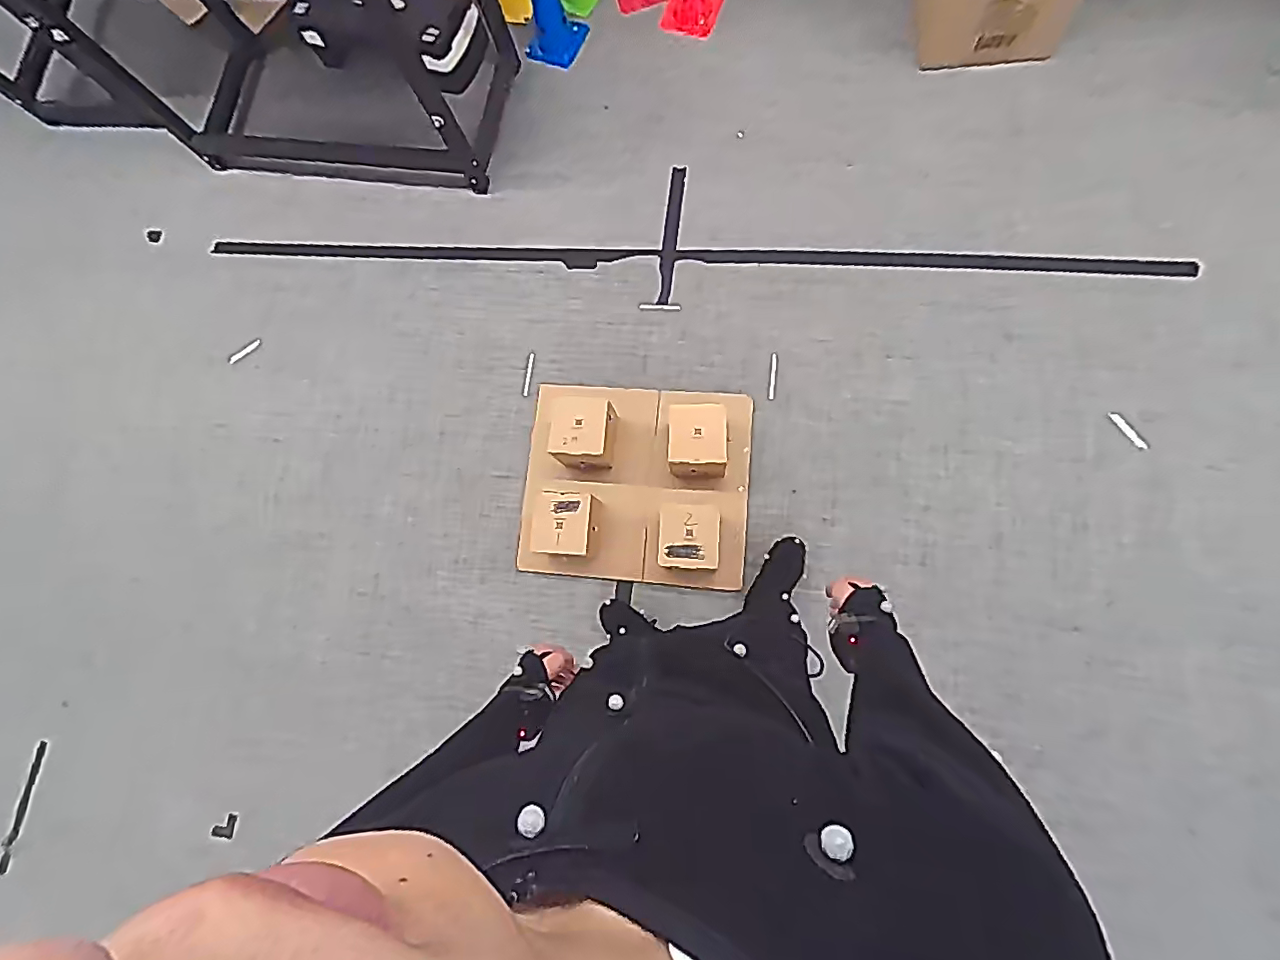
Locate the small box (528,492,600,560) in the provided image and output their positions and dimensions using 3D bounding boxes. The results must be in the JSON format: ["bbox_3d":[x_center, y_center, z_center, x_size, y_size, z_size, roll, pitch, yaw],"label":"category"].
[{"bbox_3d":[-0.217,0.140,1.597,0.168,0.176,0.179,3,80,8],"label":"small box"}]

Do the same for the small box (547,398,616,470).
[{"bbox_3d":[-0.172,-0.138,1.647,0.168,0.176,0.179,4,79,8],"label":"small box"}]

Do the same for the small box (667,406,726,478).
[{"bbox_3d":[0.169,-0.109,1.606,0.168,0.176,0.179,0,79,7],"label":"small box"}]
